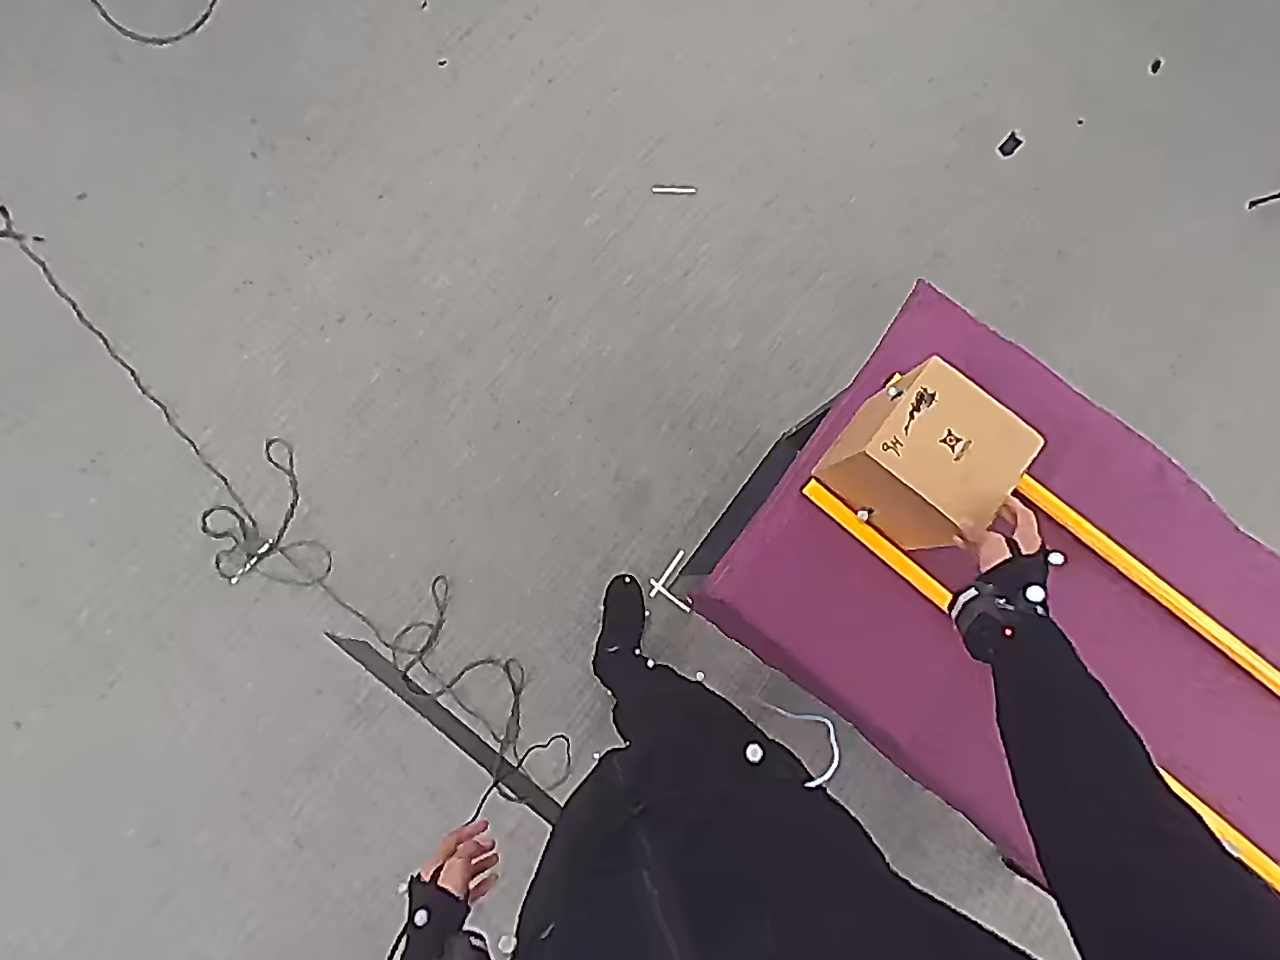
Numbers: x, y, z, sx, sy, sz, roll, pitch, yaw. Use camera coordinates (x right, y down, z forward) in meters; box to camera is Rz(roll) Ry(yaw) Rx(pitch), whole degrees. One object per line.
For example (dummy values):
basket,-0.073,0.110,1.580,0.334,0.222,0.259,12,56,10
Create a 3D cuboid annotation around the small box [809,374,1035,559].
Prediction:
small box,0.372,-0.009,0.743,0.179,0.176,0.168,40,79,2
